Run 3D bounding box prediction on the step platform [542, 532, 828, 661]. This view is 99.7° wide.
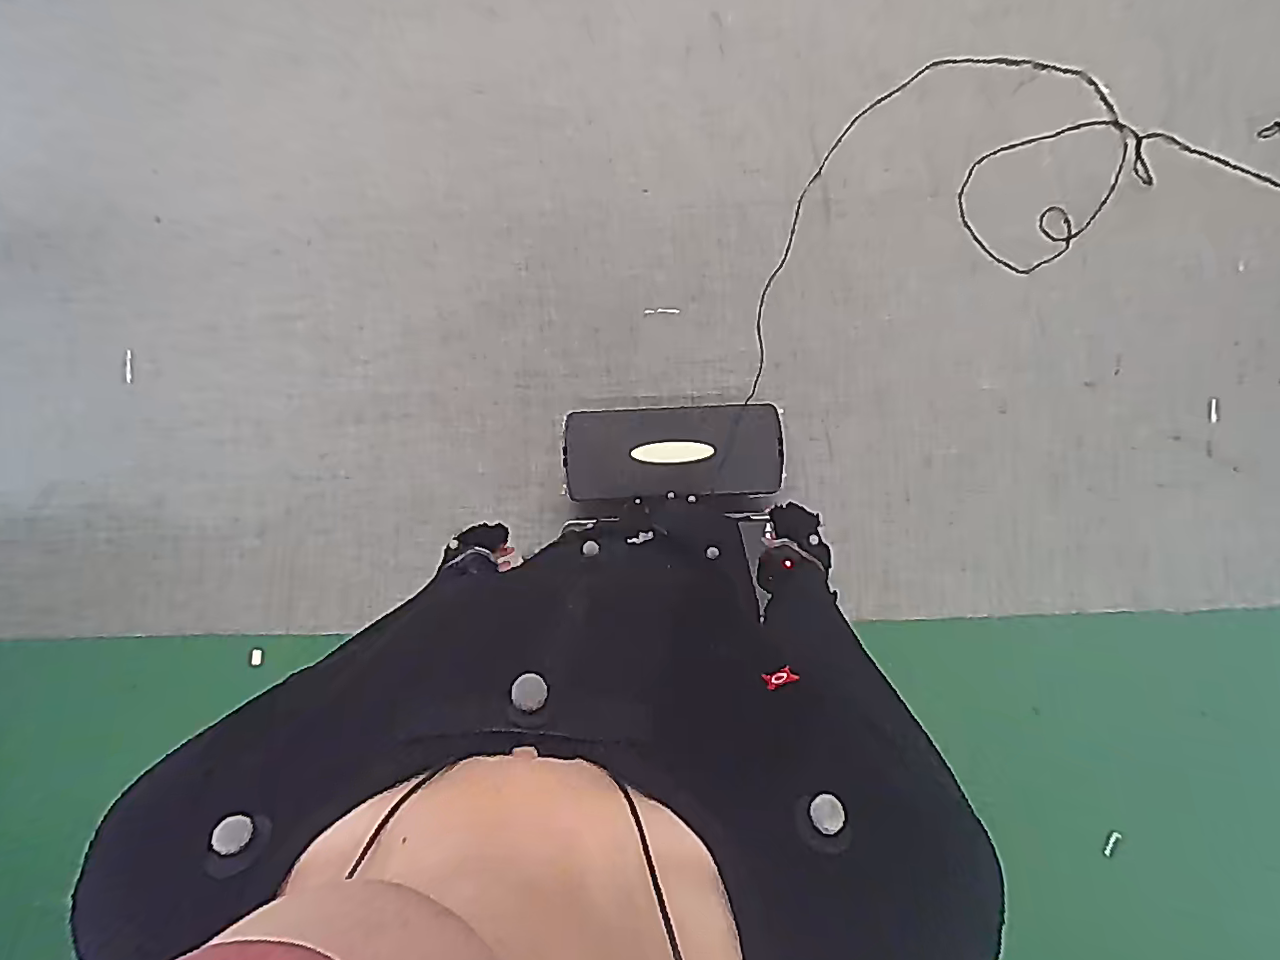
[{"bbox_3d":[0.105,0.286,1.382,0.684,0.204,0.286,-2,87,0],"label":"step platform"}]
